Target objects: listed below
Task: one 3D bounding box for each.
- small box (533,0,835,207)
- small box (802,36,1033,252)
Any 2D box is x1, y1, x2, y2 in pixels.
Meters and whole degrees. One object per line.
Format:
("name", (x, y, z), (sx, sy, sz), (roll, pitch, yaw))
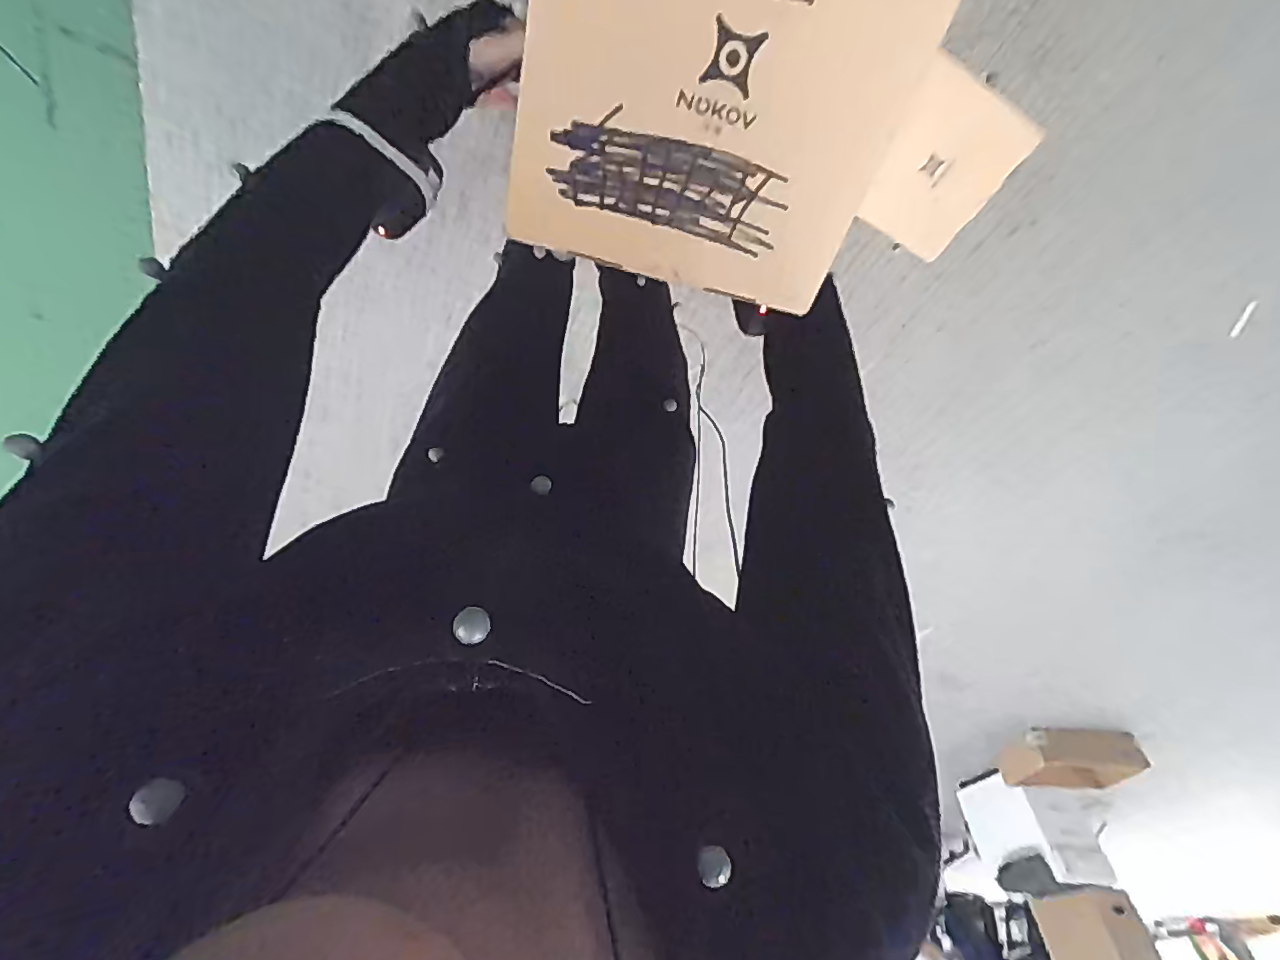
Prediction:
("small box", (0.024, -0.338, 0.413), (0.179, 0.176, 0.168), (10, 130, -12))
("small box", (0.339, -0.435, 0.700), (0.179, 0.176, 0.168), (20, 130, -20))
